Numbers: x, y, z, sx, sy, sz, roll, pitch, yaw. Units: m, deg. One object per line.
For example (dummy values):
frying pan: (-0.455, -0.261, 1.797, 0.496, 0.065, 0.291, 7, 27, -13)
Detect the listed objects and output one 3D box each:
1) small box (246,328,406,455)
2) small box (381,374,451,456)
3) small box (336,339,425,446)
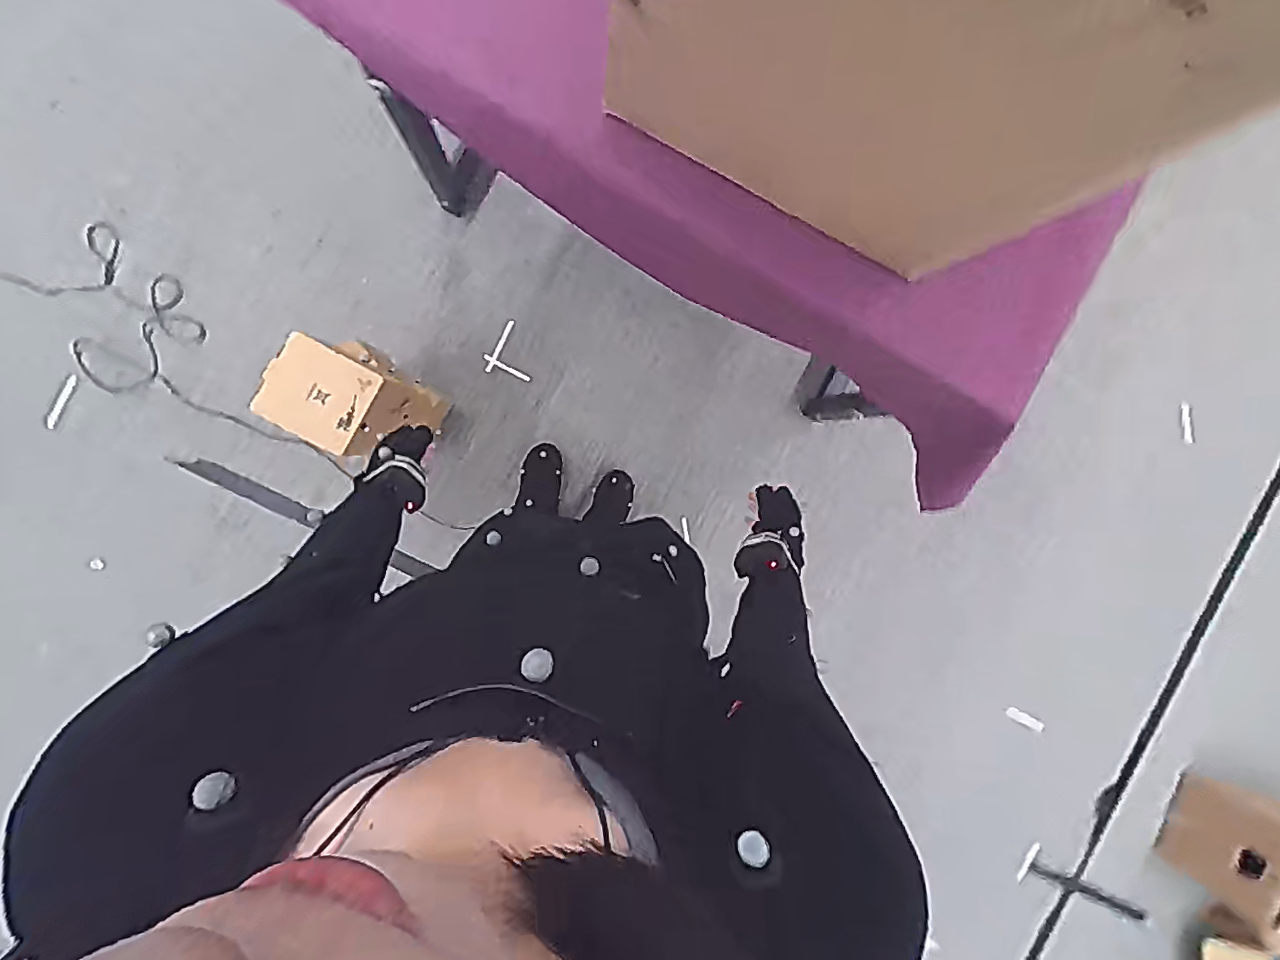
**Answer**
small box: (-0.582, -0.158, 1.029, 0.179, 0.176, 0.168, 29, 90, -8)
small box: (-0.604, -0.171, 1.354, 0.179, 0.176, 0.168, 29, 90, -8)
small box: (-0.607, -0.181, 1.189, 0.168, 0.176, 0.179, -42, 97, -4)
